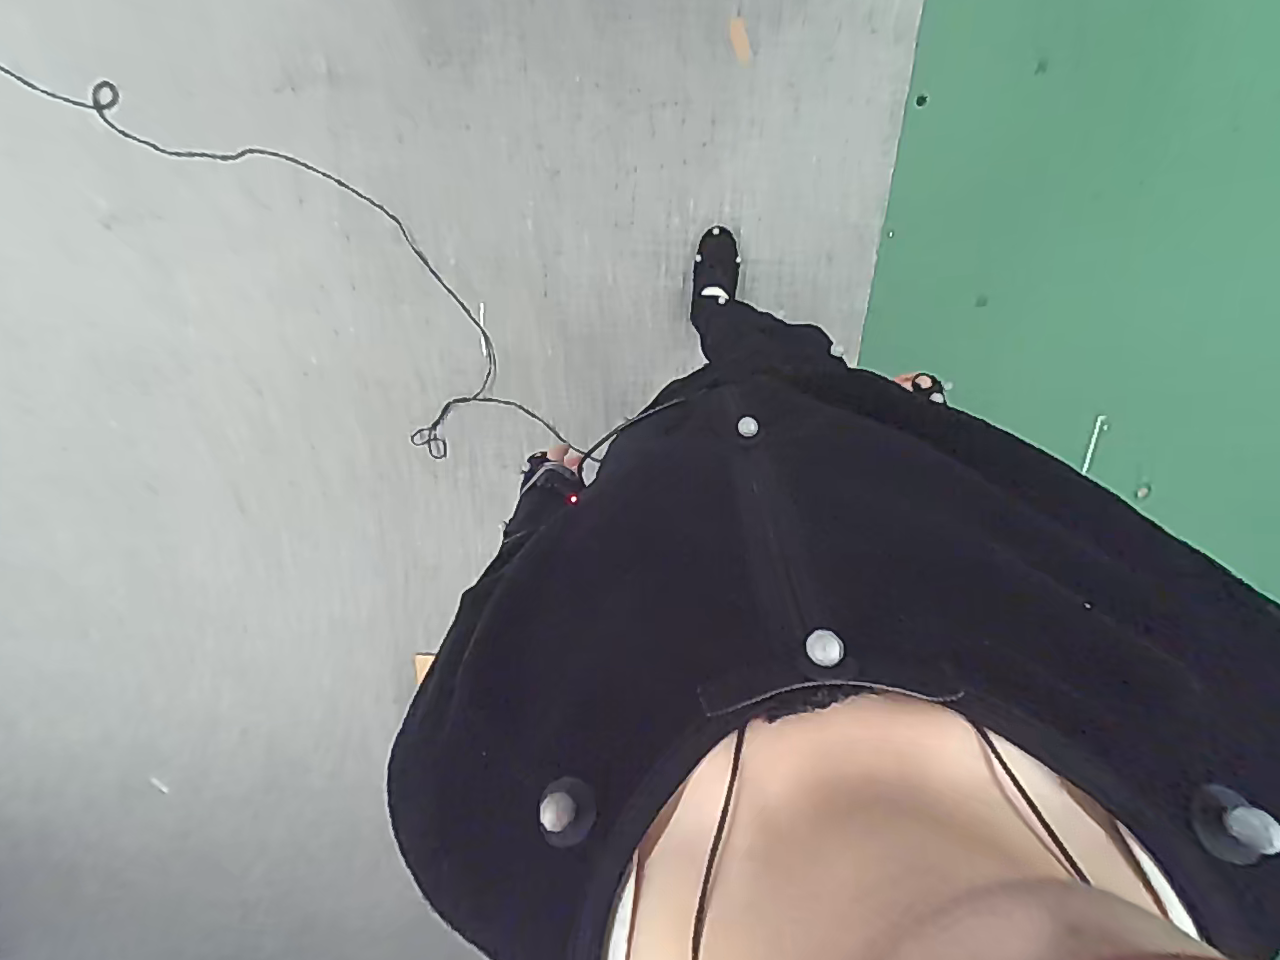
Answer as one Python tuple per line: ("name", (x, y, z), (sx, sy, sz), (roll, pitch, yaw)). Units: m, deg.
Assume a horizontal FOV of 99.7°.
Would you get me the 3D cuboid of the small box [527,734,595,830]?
("small box", (-0.221, 0.850, 1.535), (0.168, 0.176, 0.179), (2, 108, 2))
